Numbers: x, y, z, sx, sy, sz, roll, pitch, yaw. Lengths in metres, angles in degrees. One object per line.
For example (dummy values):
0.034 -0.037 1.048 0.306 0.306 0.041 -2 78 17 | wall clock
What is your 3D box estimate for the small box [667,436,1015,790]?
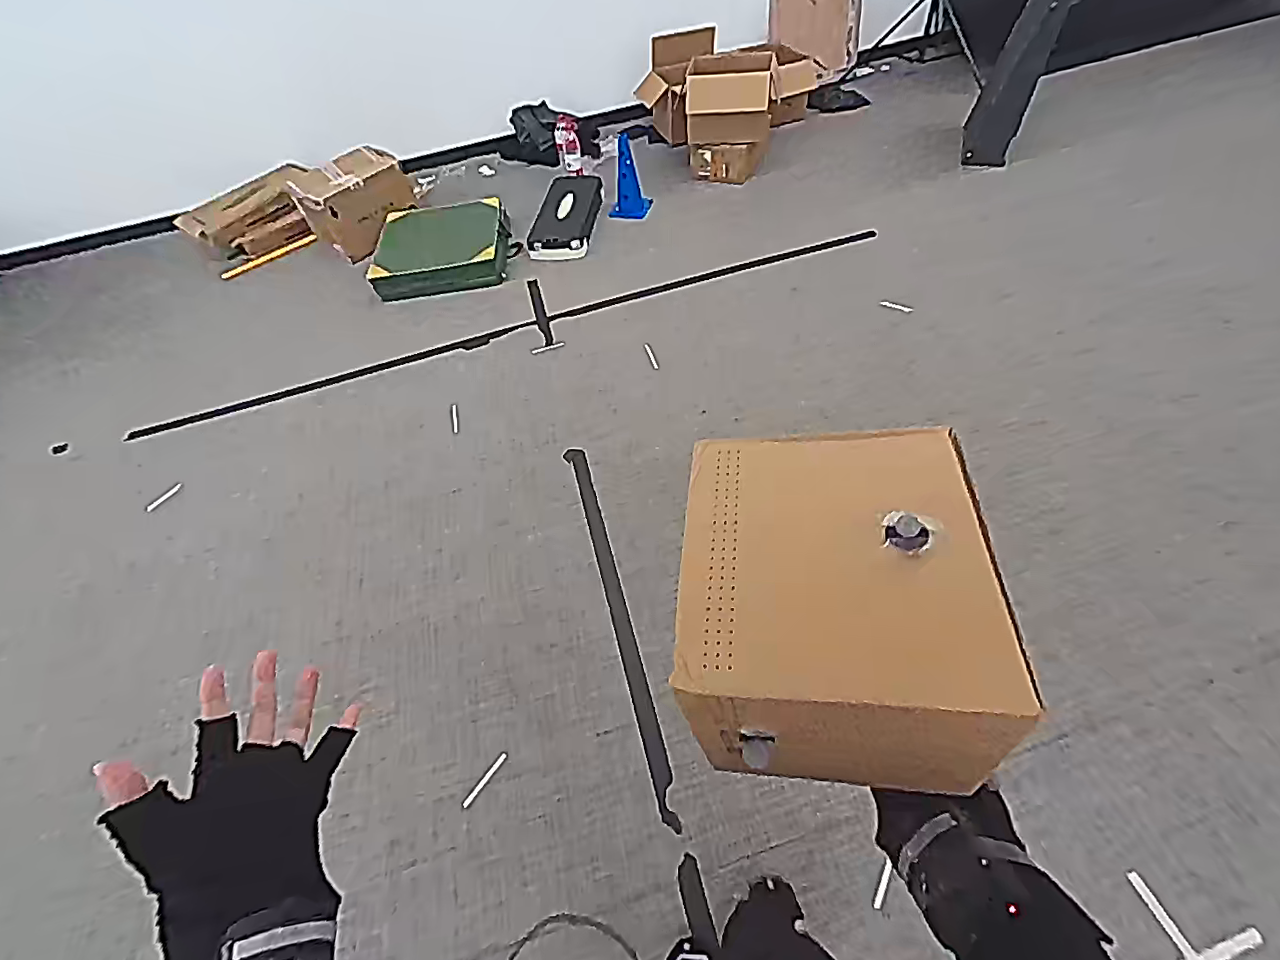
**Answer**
0.119 0.090 0.373 0.176 0.168 0.179 -3 49 17 | small box
